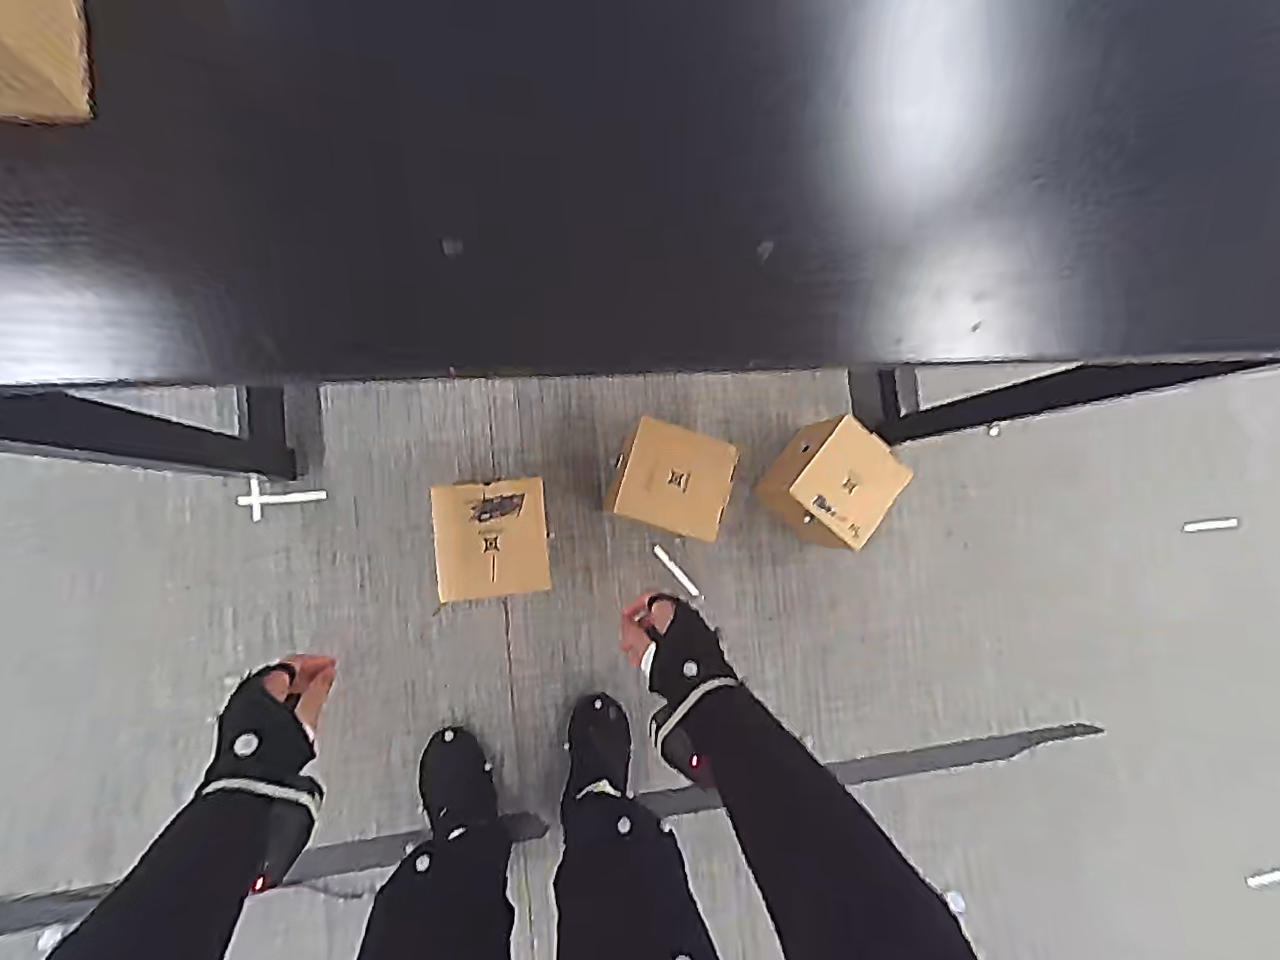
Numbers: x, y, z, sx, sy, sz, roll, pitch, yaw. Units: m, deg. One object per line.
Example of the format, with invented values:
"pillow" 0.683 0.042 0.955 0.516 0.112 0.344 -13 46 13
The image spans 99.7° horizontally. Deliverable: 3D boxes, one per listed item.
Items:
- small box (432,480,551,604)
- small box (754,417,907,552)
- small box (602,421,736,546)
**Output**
"small box" -0.239 0.097 0.894 0.168 0.176 0.179 -5 88 -10
"small box" 0.342 0.012 1.004 0.168 0.176 0.179 39 80 -5
"small box" 0.044 0.010 0.953 0.179 0.176 0.168 17 83 -8
